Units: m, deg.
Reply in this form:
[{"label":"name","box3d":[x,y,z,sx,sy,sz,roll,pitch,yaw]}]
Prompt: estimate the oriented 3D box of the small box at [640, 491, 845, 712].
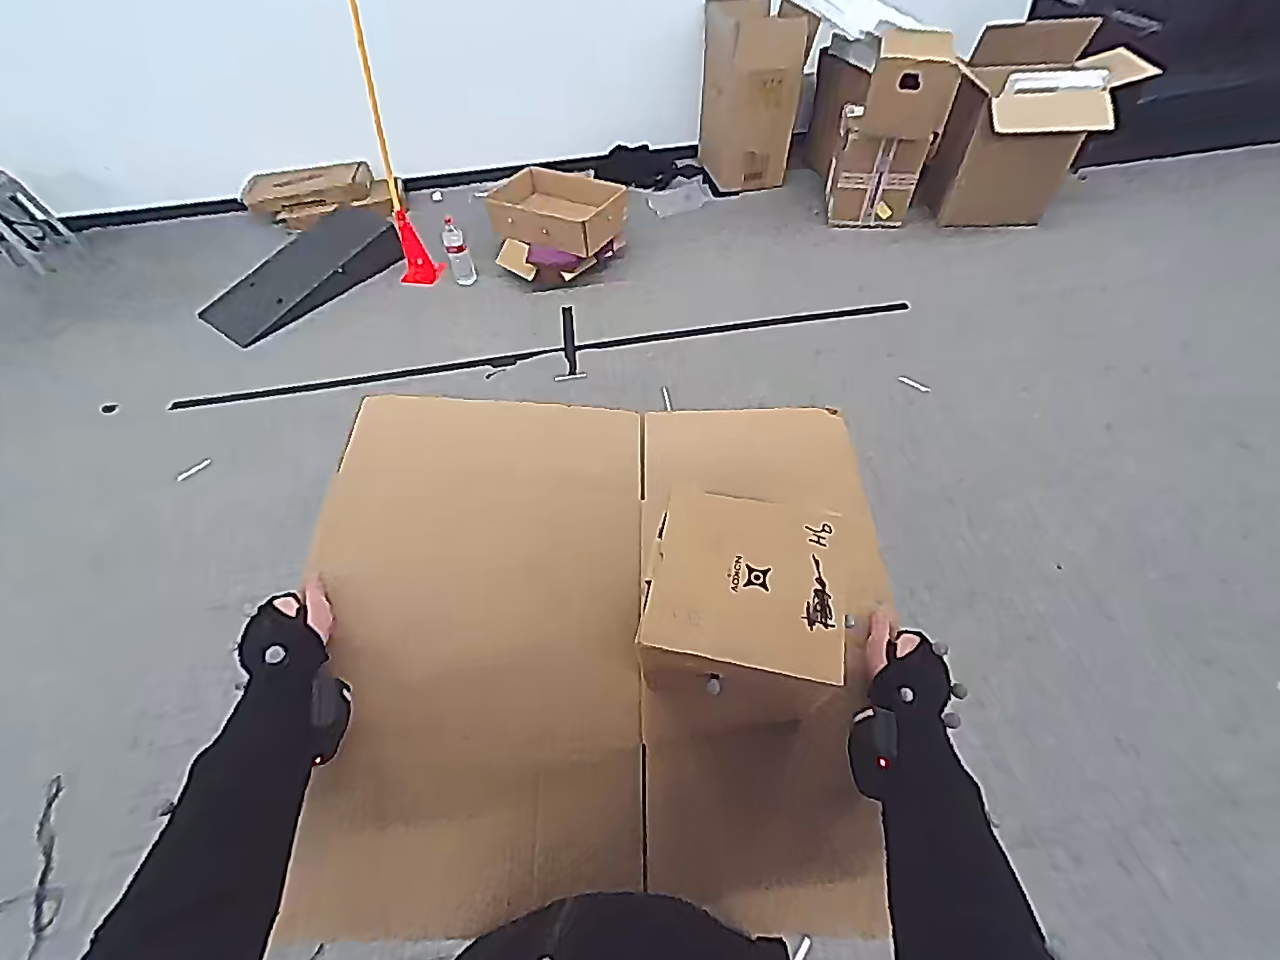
[{"label":"small box","box3d":[0.107,0.133,0.572,0.179,0.176,0.168,8,59,10]}]
